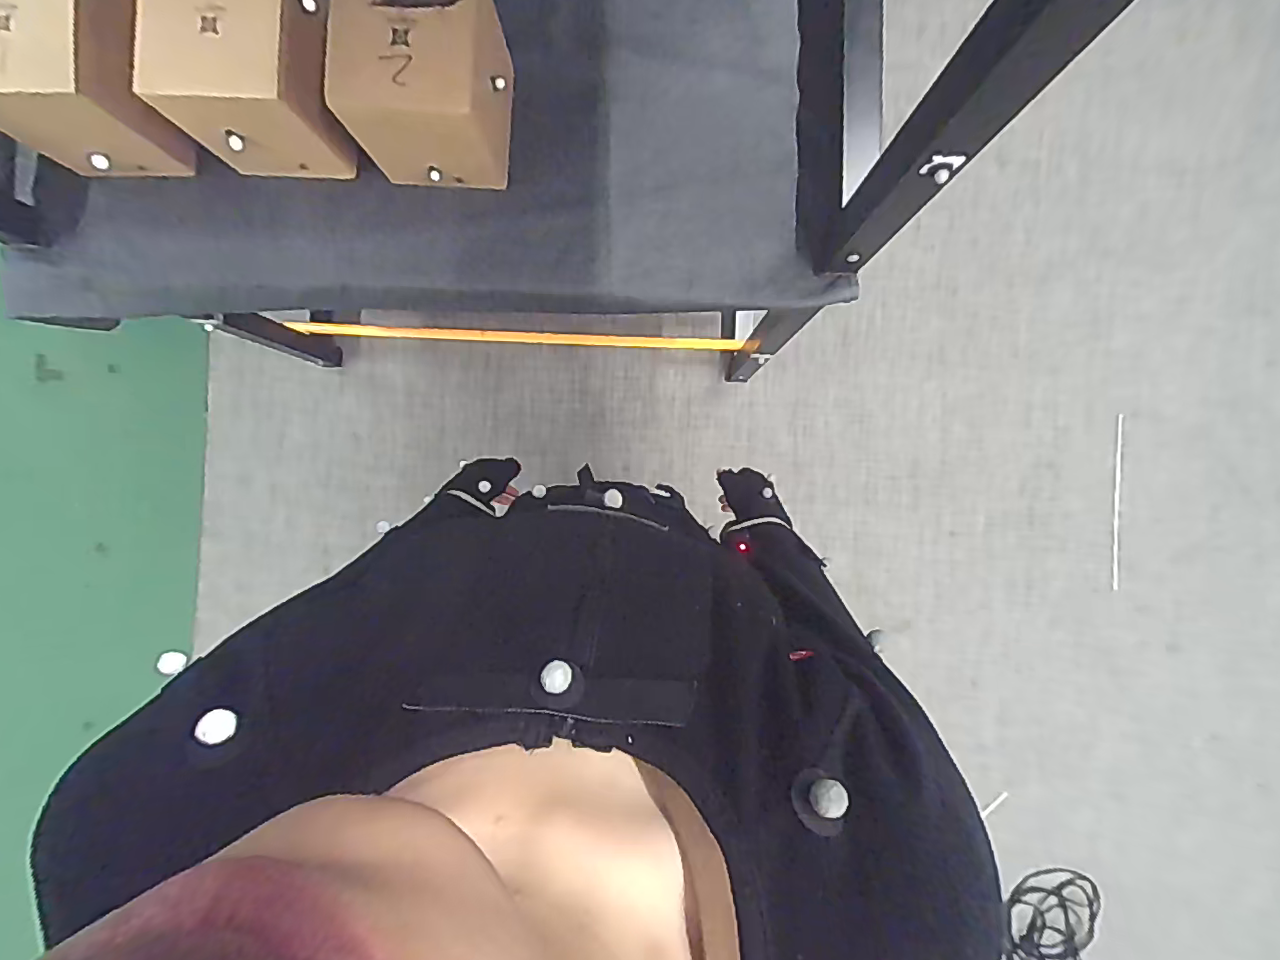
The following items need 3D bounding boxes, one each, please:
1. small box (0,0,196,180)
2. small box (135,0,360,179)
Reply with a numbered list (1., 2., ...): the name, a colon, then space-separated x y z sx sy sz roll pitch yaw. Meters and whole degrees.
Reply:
1. small box: -0.705 -0.513 0.682 0.168 0.176 0.179 0 90 0
2. small box: -0.478 -0.510 0.684 0.168 0.176 0.179 2 89 0
